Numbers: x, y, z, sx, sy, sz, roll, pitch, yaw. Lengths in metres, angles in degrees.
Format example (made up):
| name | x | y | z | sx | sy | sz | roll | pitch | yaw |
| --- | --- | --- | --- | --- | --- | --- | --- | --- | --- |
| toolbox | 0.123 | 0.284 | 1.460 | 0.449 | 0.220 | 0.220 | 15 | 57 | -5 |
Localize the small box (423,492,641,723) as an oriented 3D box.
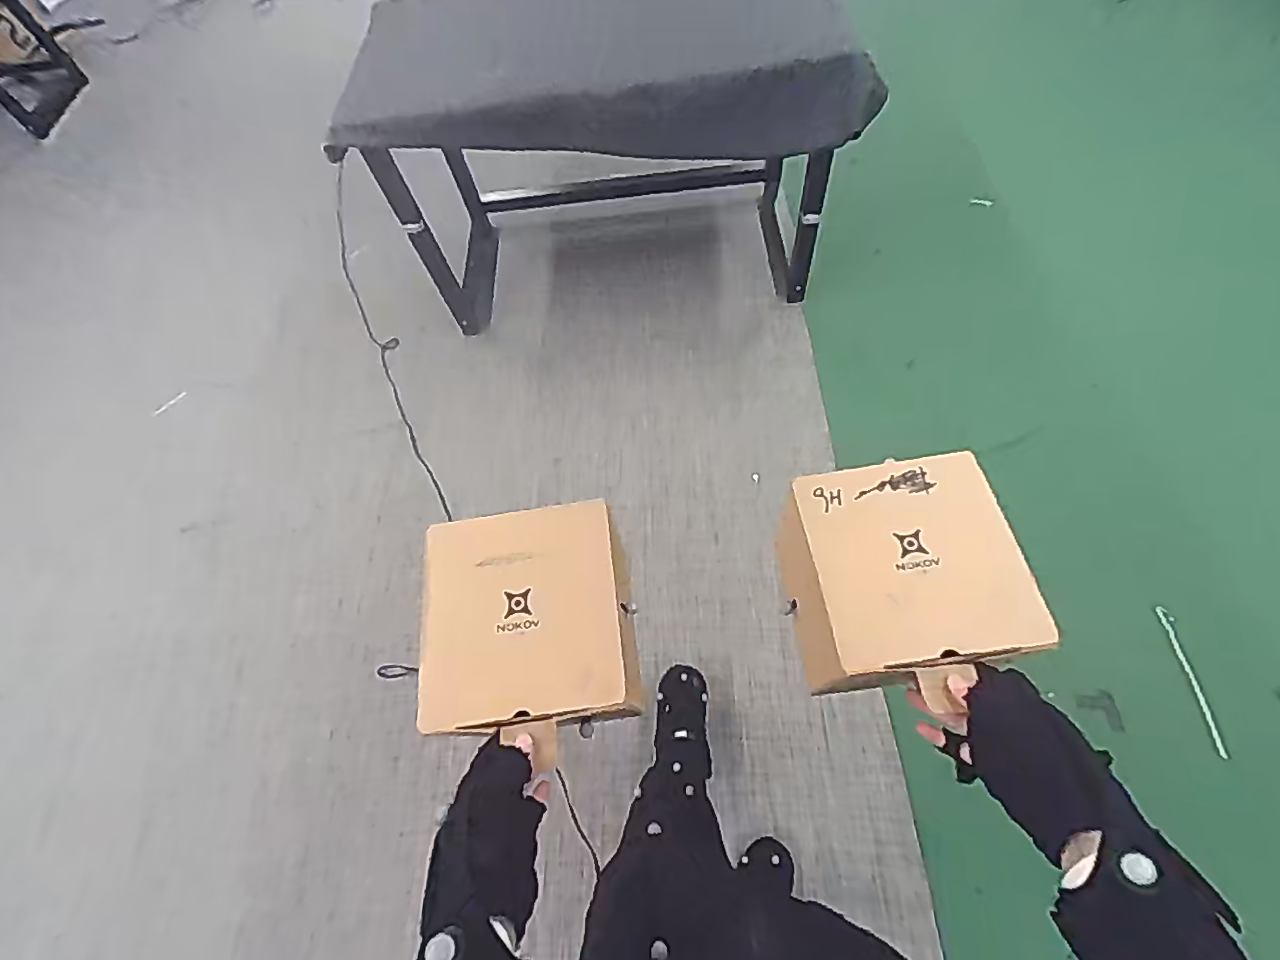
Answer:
| name | x | y | z | sx | sy | sz | roll | pitch | yaw |
| --- | --- | --- | --- | --- | --- | --- | --- | --- | --- |
| small box | -0.095 | 0.134 | 0.530 | 0.168 | 0.176 | 0.179 | -9 | 64 | 0 |
